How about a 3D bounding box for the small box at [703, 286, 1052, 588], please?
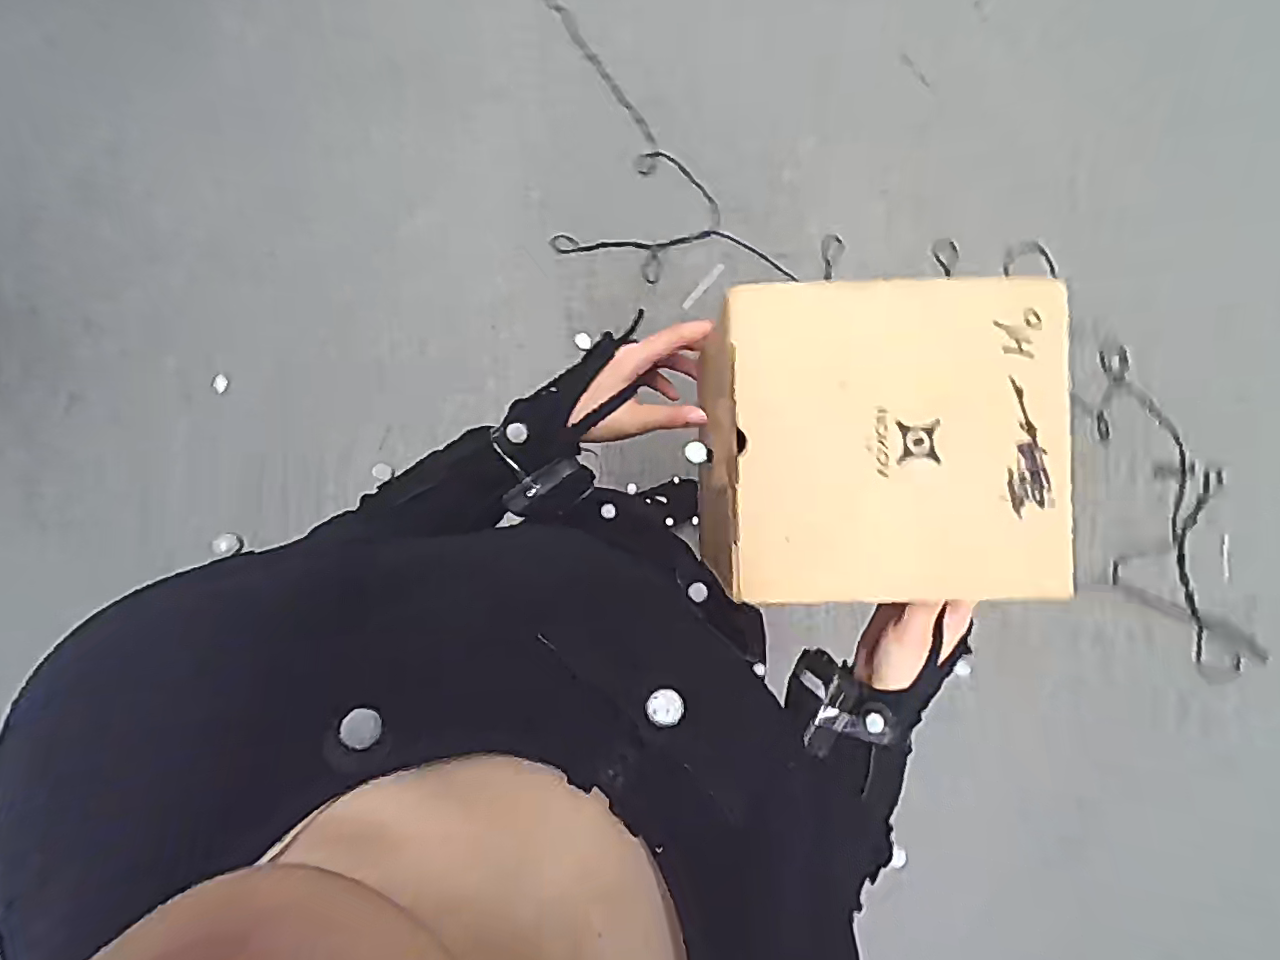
[{"bbox_3d":[0.135,-0.021,0.373,0.179,0.176,0.168,-1,90,1],"label":"small box"}]
